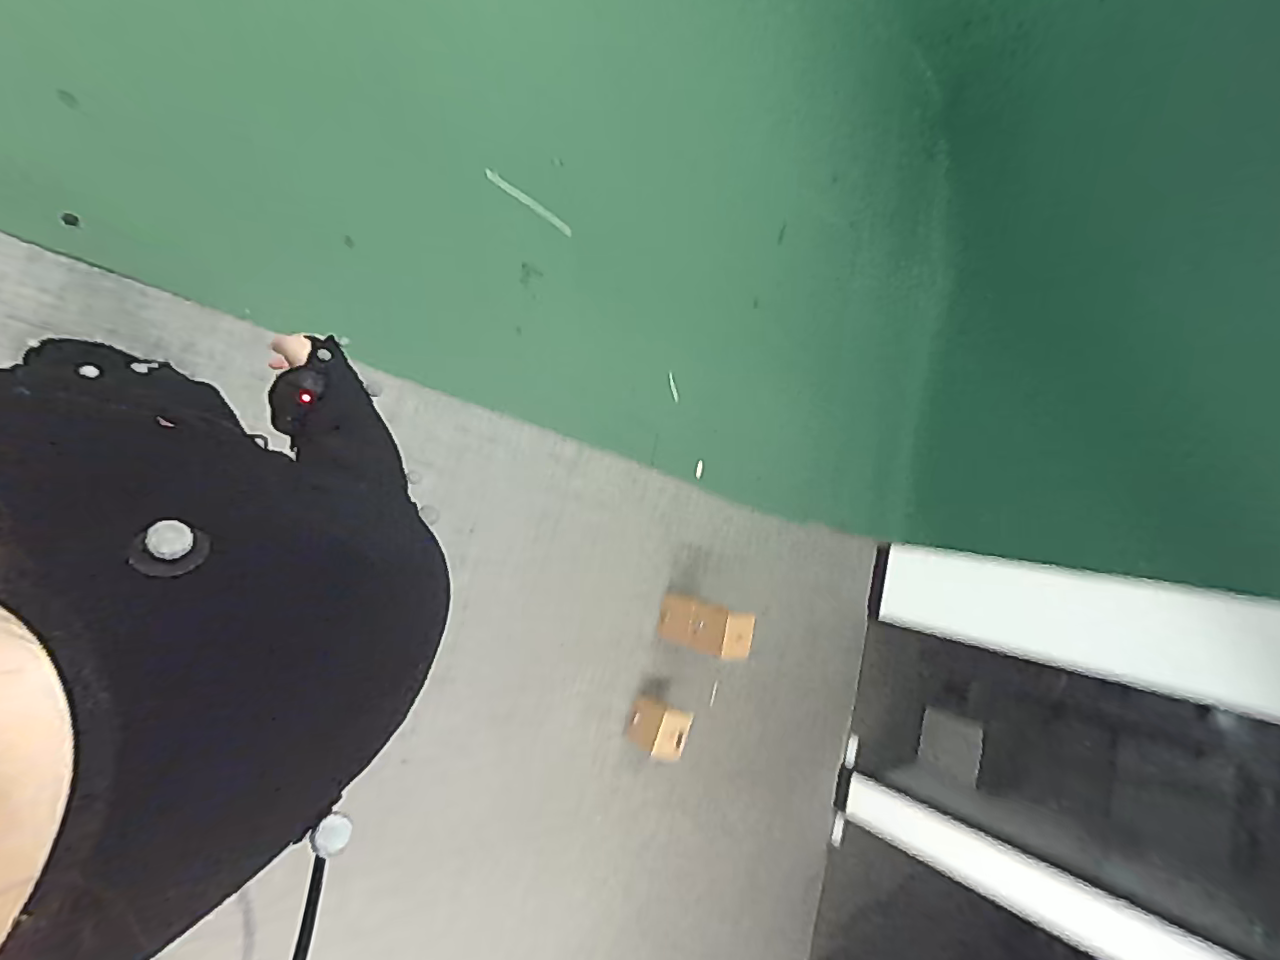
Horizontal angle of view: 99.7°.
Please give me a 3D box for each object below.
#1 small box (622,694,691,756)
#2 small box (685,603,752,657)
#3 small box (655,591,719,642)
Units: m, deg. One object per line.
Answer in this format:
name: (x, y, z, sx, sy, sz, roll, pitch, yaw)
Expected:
small box: (0.062, 0.949, 2.101, 0.179, 0.176, 0.168, 31, 73, -40)
small box: (0.299, 0.568, 2.064, 0.179, 0.176, 0.168, 16, 82, -45)
small box: (0.189, 0.547, 2.179, 0.179, 0.176, 0.168, 13, 86, -43)
